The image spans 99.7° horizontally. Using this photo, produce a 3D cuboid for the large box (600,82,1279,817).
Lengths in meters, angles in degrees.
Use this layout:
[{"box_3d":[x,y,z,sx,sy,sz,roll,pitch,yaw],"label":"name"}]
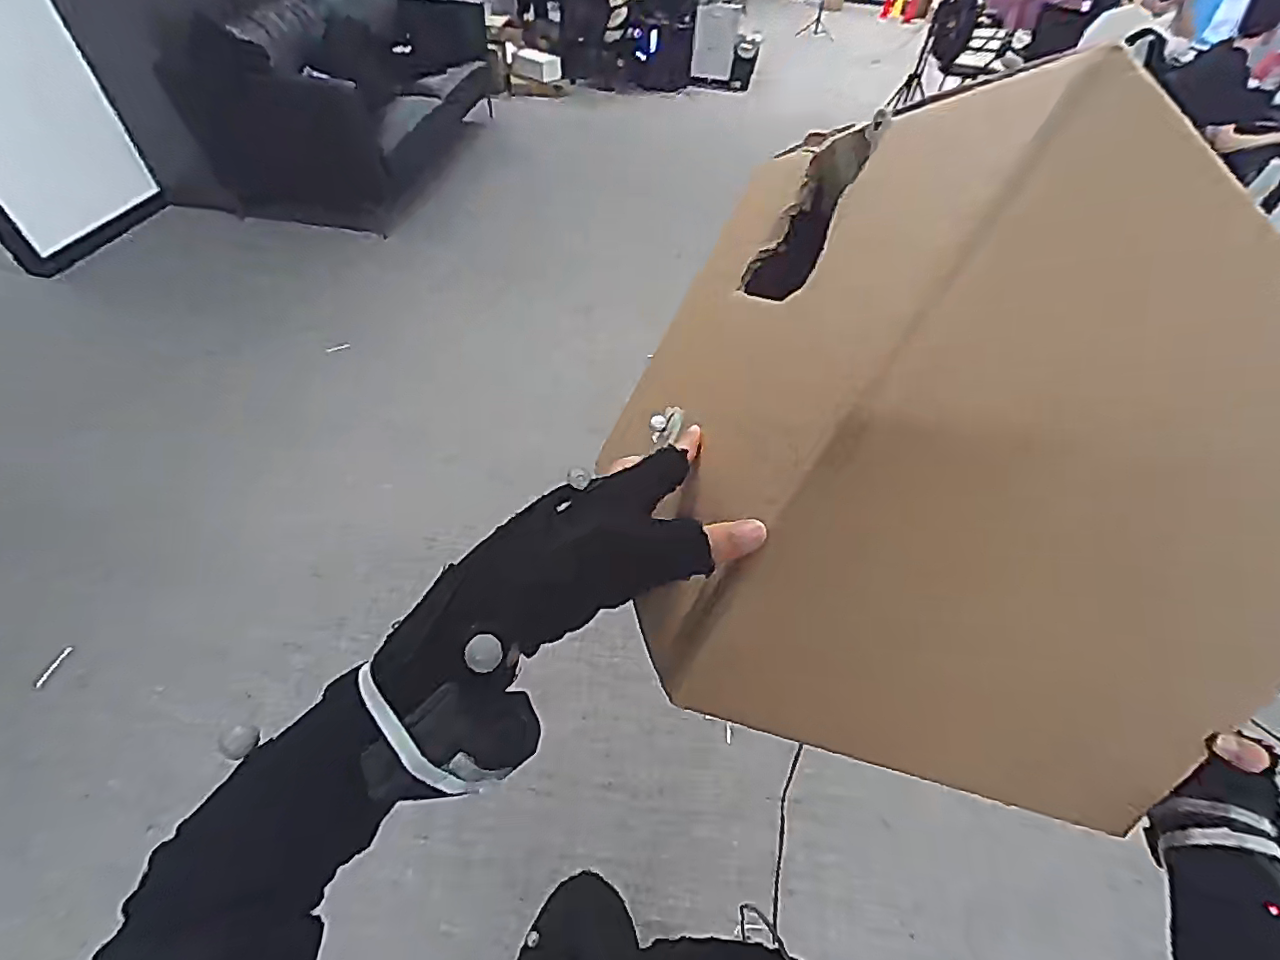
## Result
[{"box_3d":[0.227,0.001,0.436,0.408,0.320,0.320,25,16,-20],"label":"large box"}]
